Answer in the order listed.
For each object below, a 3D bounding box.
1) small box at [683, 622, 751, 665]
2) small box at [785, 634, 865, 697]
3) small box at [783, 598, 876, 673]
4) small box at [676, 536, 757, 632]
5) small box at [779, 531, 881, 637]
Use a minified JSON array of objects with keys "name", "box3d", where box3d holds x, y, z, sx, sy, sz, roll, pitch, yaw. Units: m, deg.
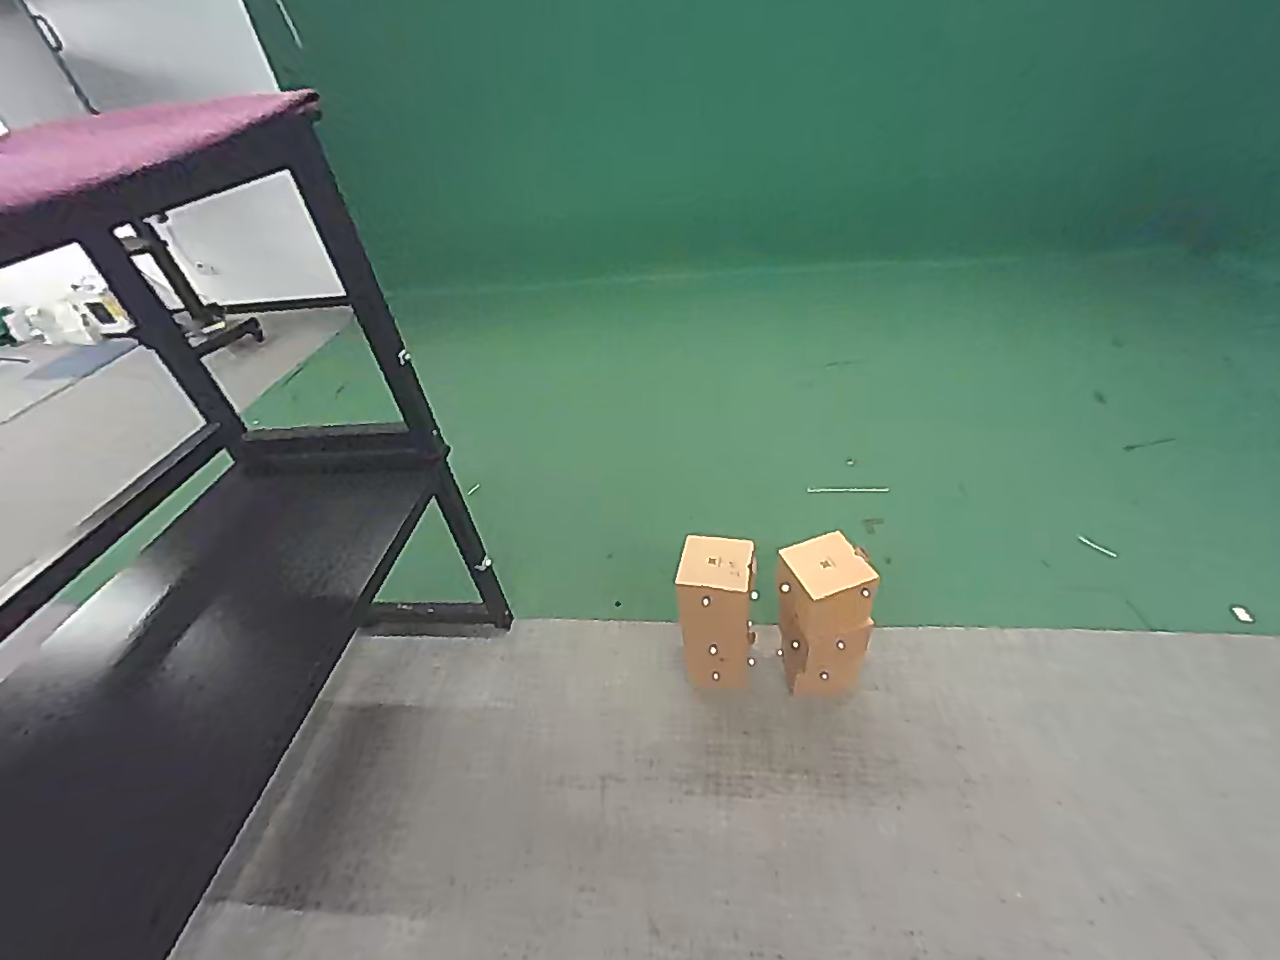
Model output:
[{"name":"small box","box3d":[0.218,0.383,1.482,0.168,0.176,0.179,3,41,14]},{"name":"small box","box3d":[0.519,0.502,1.544,0.179,0.176,0.168,-5,40,2]},{"name":"small box","box3d":[0.492,0.386,1.434,0.179,0.176,0.168,-13,42,-7]},{"name":"small box","box3d":[0.198,0.263,1.368,0.179,0.176,0.168,5,41,16]},{"name":"small box","box3d":[0.459,0.260,1.334,0.179,0.176,0.168,-17,41,-11]}]
